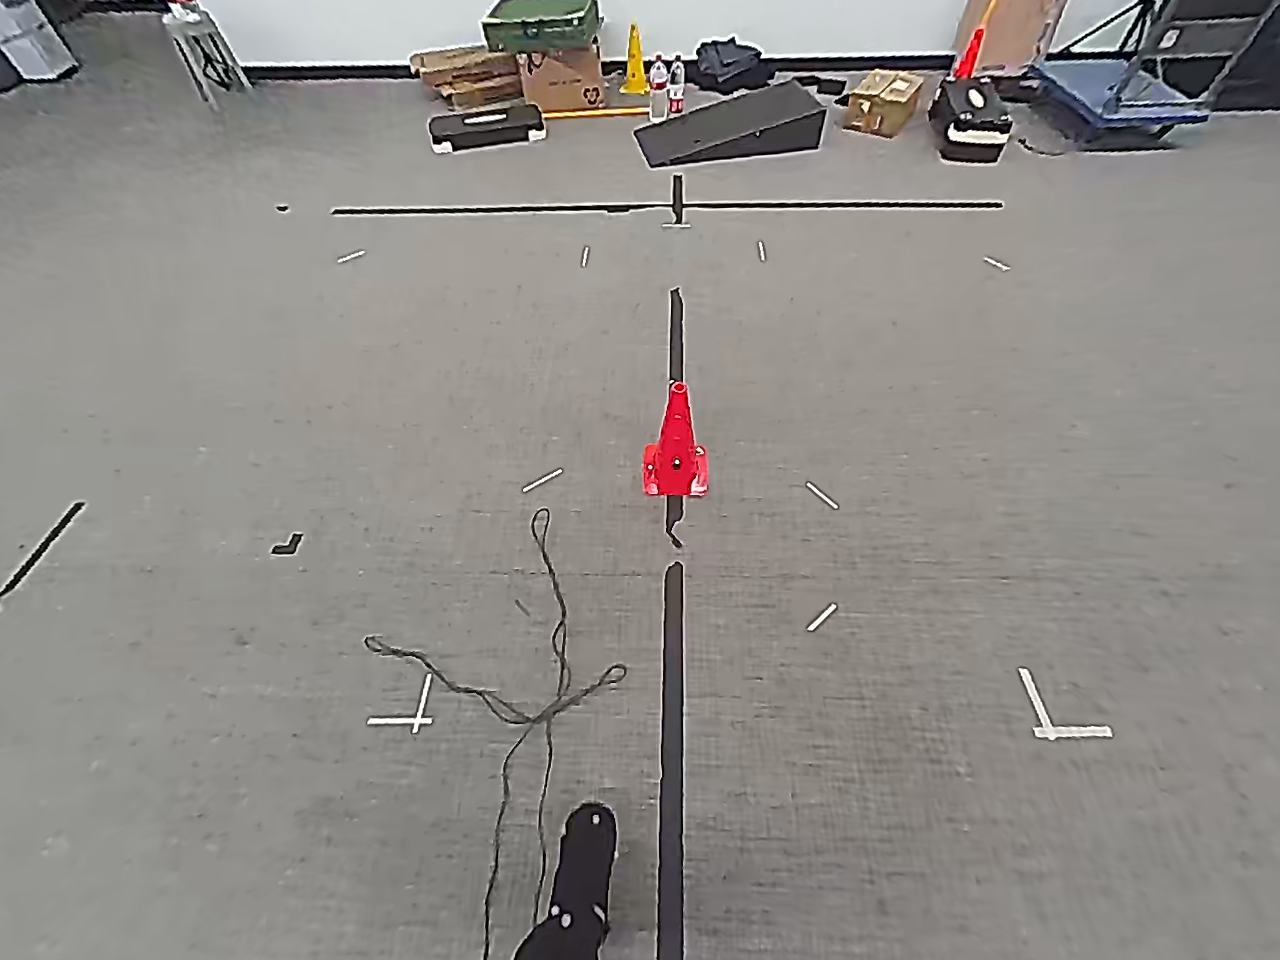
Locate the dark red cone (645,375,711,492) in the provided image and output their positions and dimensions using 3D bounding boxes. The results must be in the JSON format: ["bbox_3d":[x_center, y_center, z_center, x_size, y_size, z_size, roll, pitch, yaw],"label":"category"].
[{"bbox_3d":[0.109,-0.145,1.545,0.201,0.394,0.202,0,53,3],"label":"dark red cone"}]
